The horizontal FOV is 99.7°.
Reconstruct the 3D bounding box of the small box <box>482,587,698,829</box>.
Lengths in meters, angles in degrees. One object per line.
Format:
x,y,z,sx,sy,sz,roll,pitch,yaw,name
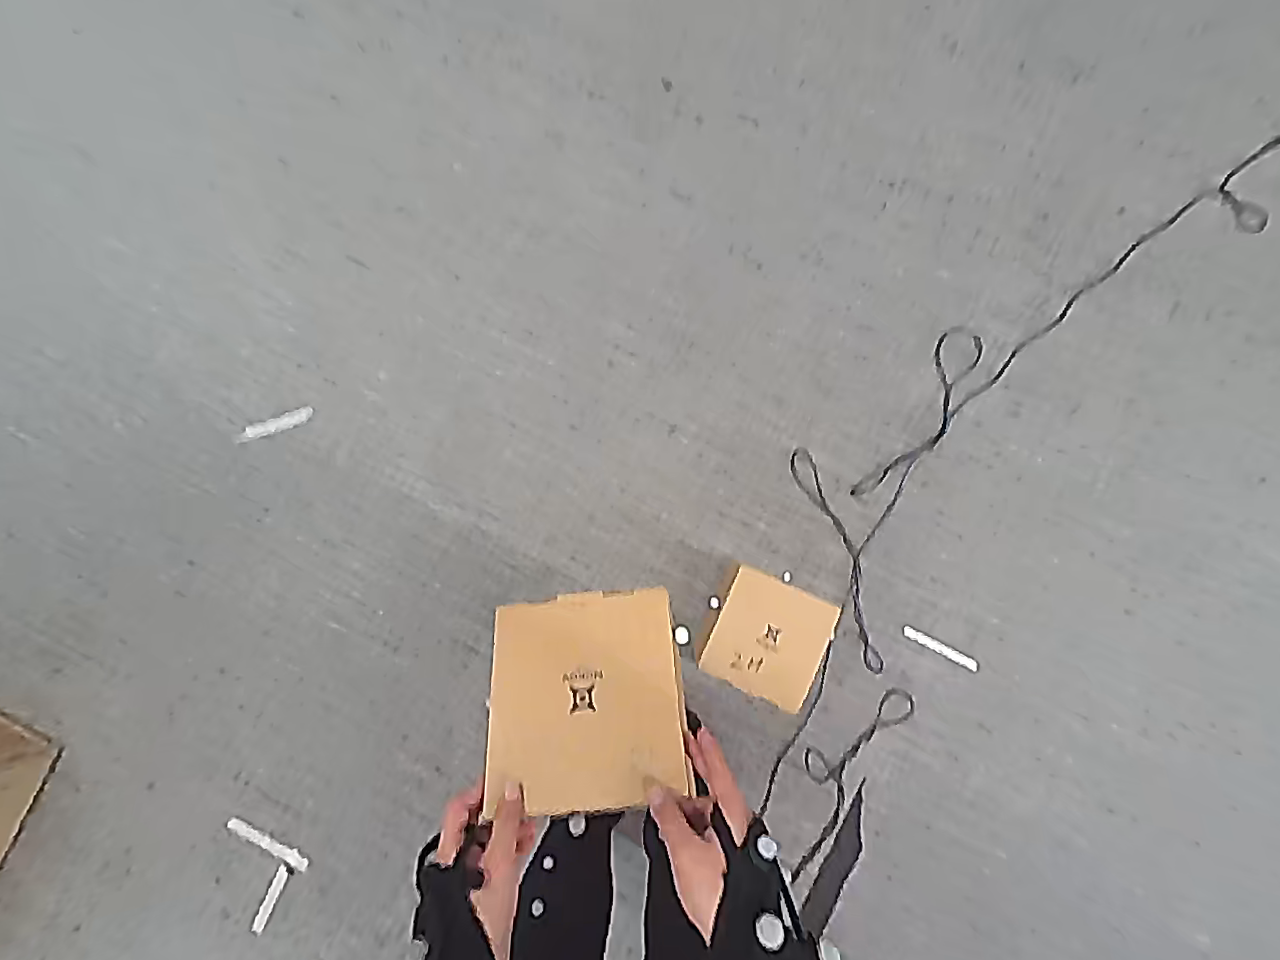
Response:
-0.038,0.223,0.518,0.168,0.176,0.179,-8,56,3,small box

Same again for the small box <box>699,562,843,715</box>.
0.201,0.245,0.889,0.168,0.176,0.179,24,87,6,small box
